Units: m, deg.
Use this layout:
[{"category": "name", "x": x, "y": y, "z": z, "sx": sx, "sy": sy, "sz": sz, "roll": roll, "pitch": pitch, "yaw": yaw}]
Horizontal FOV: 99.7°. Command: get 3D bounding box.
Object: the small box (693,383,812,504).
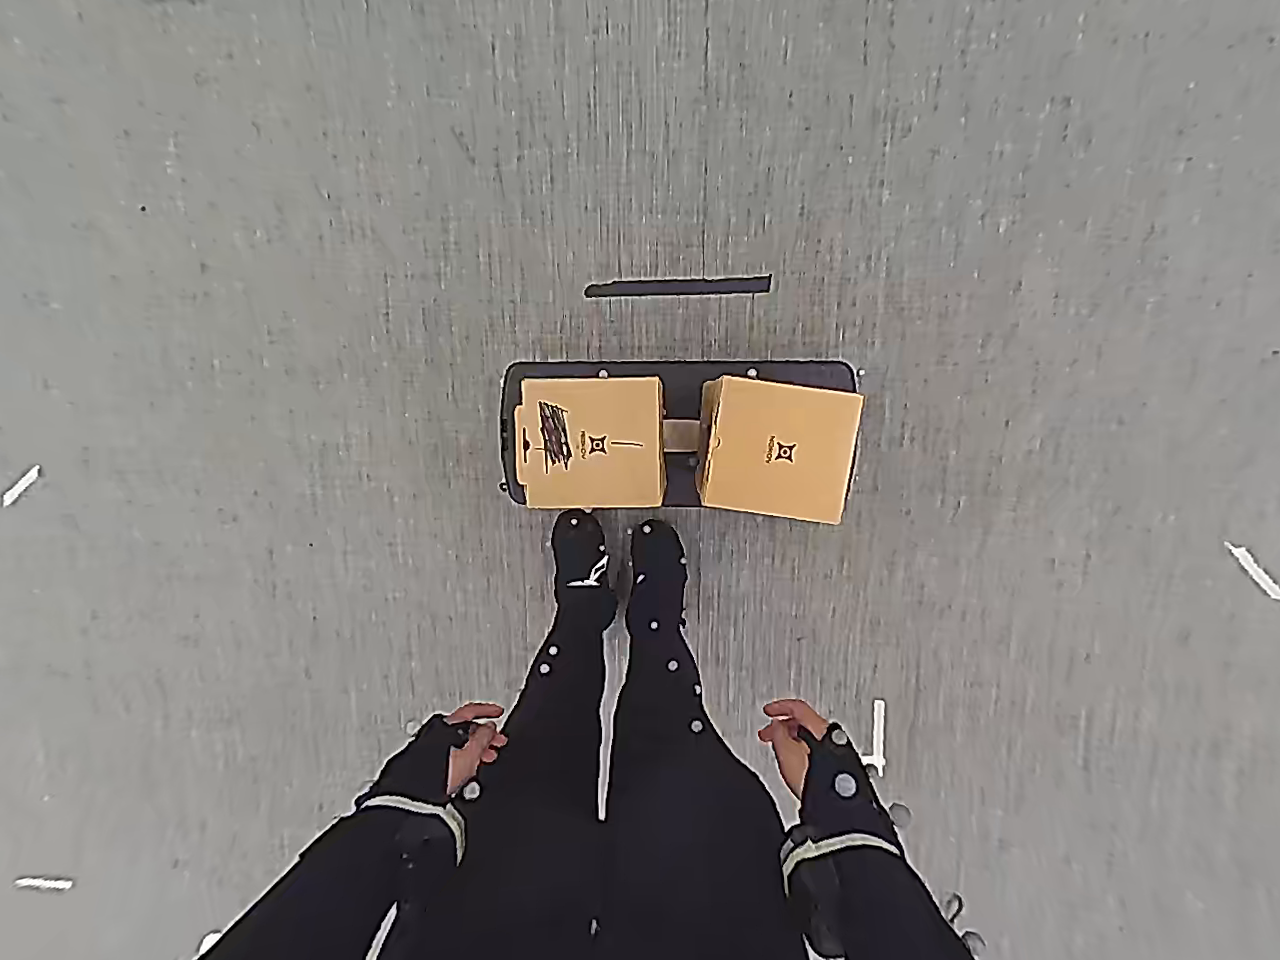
[{"category": "small box", "x": 0.179, "y": -0.066, "z": 0.910, "sx": 0.168, "sy": 0.176, "sz": 0.179, "roll": 5, "pitch": 98, "yaw": 4}]
